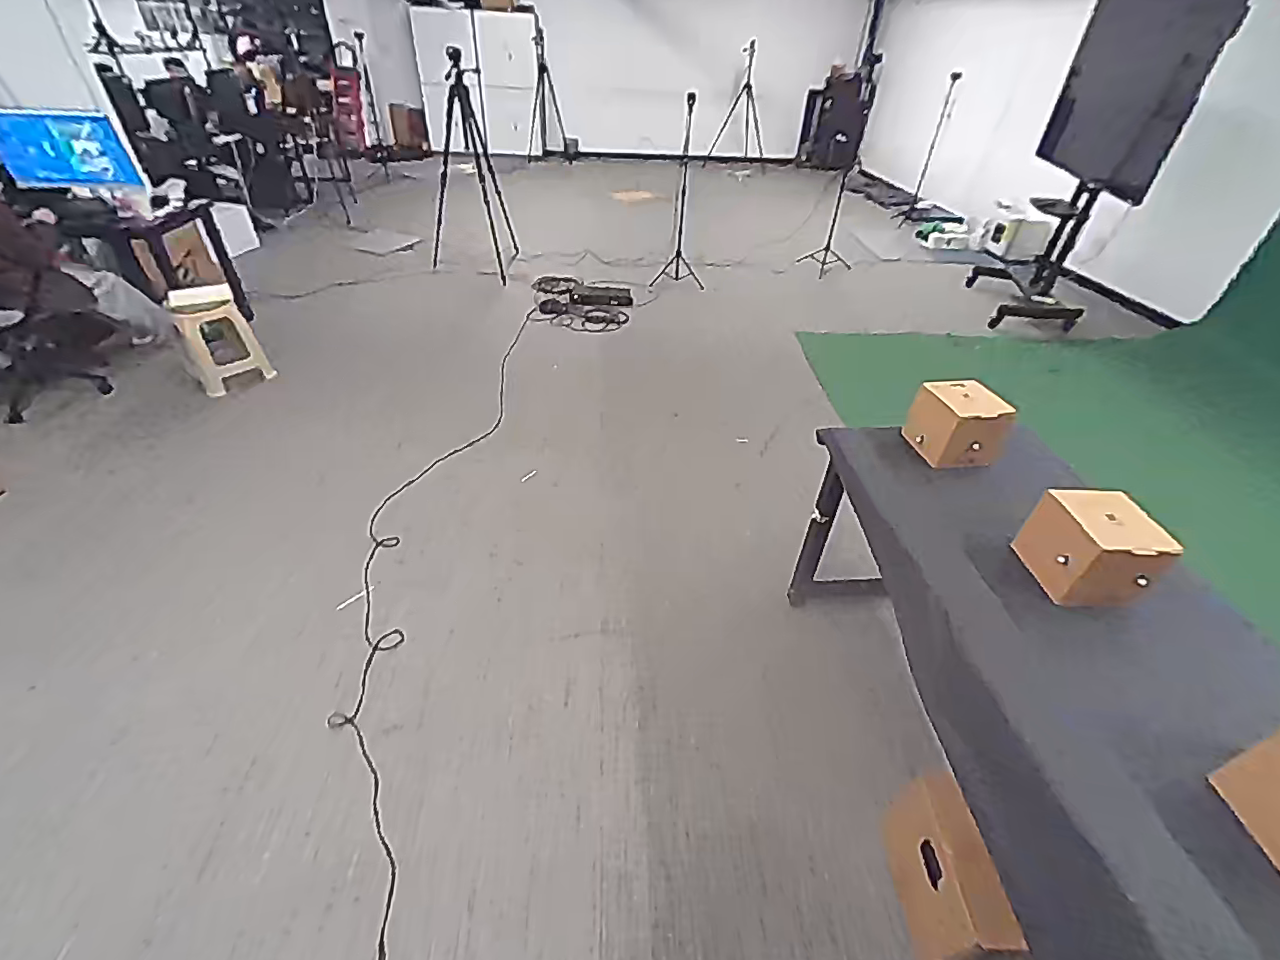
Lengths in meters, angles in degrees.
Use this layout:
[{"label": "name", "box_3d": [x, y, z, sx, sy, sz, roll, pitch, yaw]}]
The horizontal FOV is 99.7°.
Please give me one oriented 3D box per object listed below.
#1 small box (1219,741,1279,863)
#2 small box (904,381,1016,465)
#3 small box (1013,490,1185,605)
[{"label": "small box", "box_3d": [0.961, 0.449, 0.718, 0.168, 0.176, 0.179, 1, 39, -1]}, {"label": "small box", "box_3d": [0.854, -0.150, 1.464, 0.168, 0.176, 0.179, -4, 40, -9]}, {"label": "small box", "box_3d": [0.924, 0.139, 1.110, 0.168, 0.176, 0.179, 2, 38, -3]}]
